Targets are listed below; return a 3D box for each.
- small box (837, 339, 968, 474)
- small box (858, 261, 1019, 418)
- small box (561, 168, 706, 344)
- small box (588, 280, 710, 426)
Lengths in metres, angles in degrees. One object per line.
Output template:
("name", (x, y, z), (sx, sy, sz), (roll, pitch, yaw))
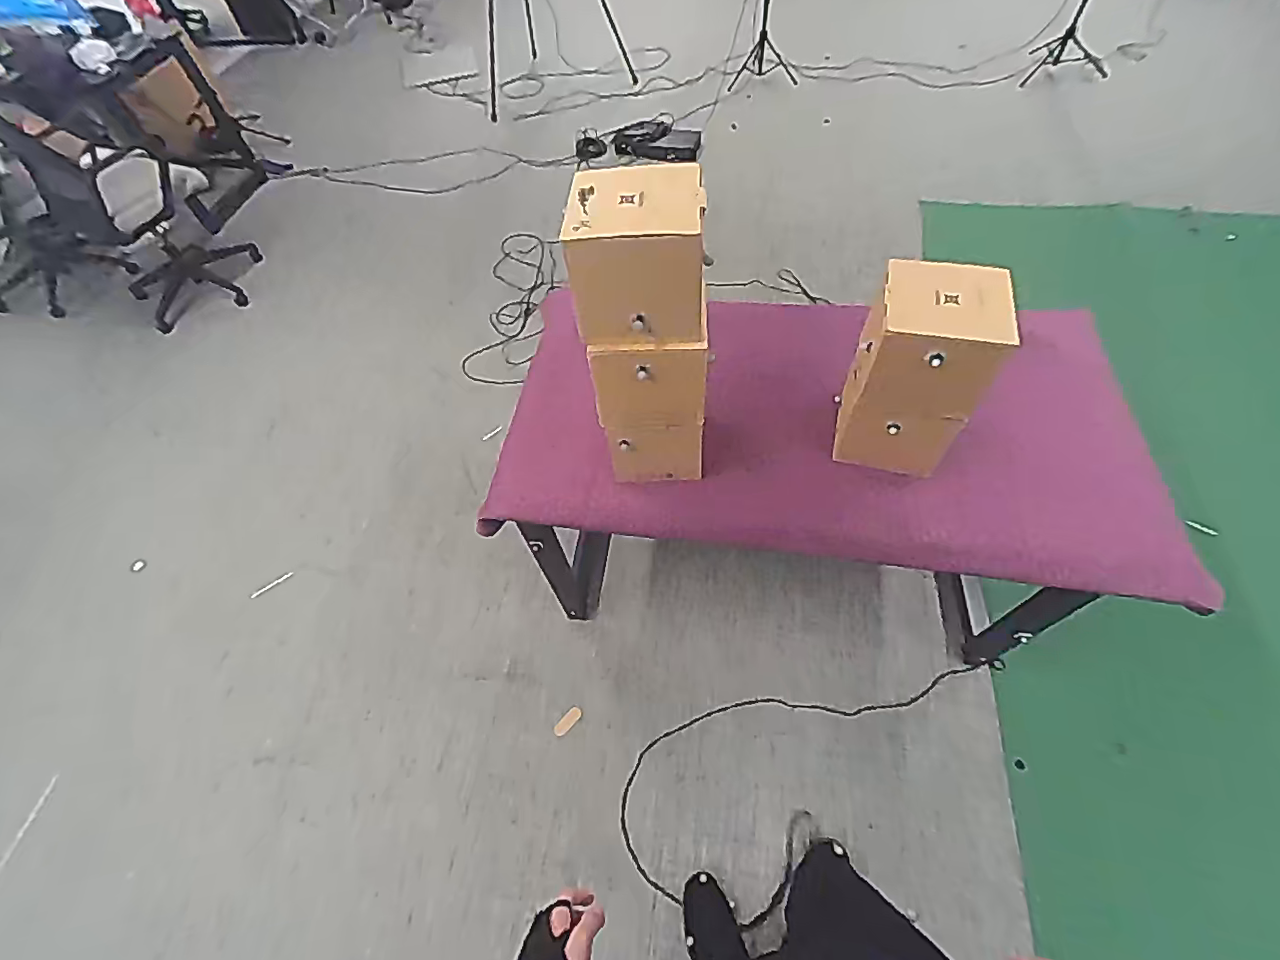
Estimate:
("small box", (0.469, -0.130, 0.987), (0.179, 0.176, 0.168), (12, 59, 12))
("small box", (0.454, -0.216, 0.849), (0.179, 0.176, 0.168), (11, 60, 12))
("small box", (0.001, -0.305, 0.752), (0.179, 0.176, 0.168), (0, 56, 6))
("small box", (0.022, -0.201, 0.878), (0.179, 0.176, 0.168), (-1, 56, 6))
